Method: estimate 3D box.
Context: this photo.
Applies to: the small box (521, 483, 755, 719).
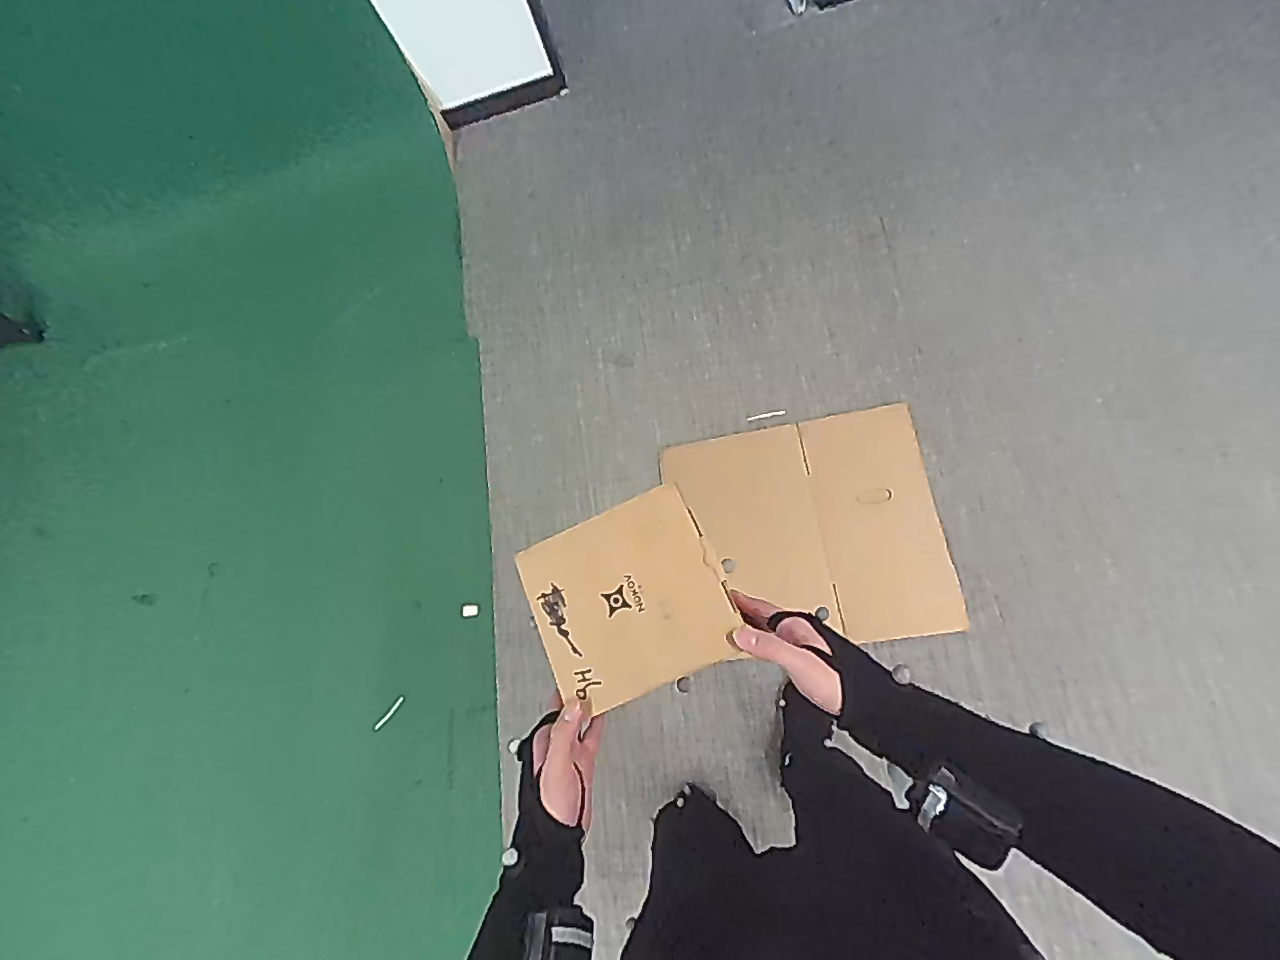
[{"bbox_3d":[0.005,0.127,0.568,0.179,0.176,0.168,-24,70,4],"label":"small box"}]
